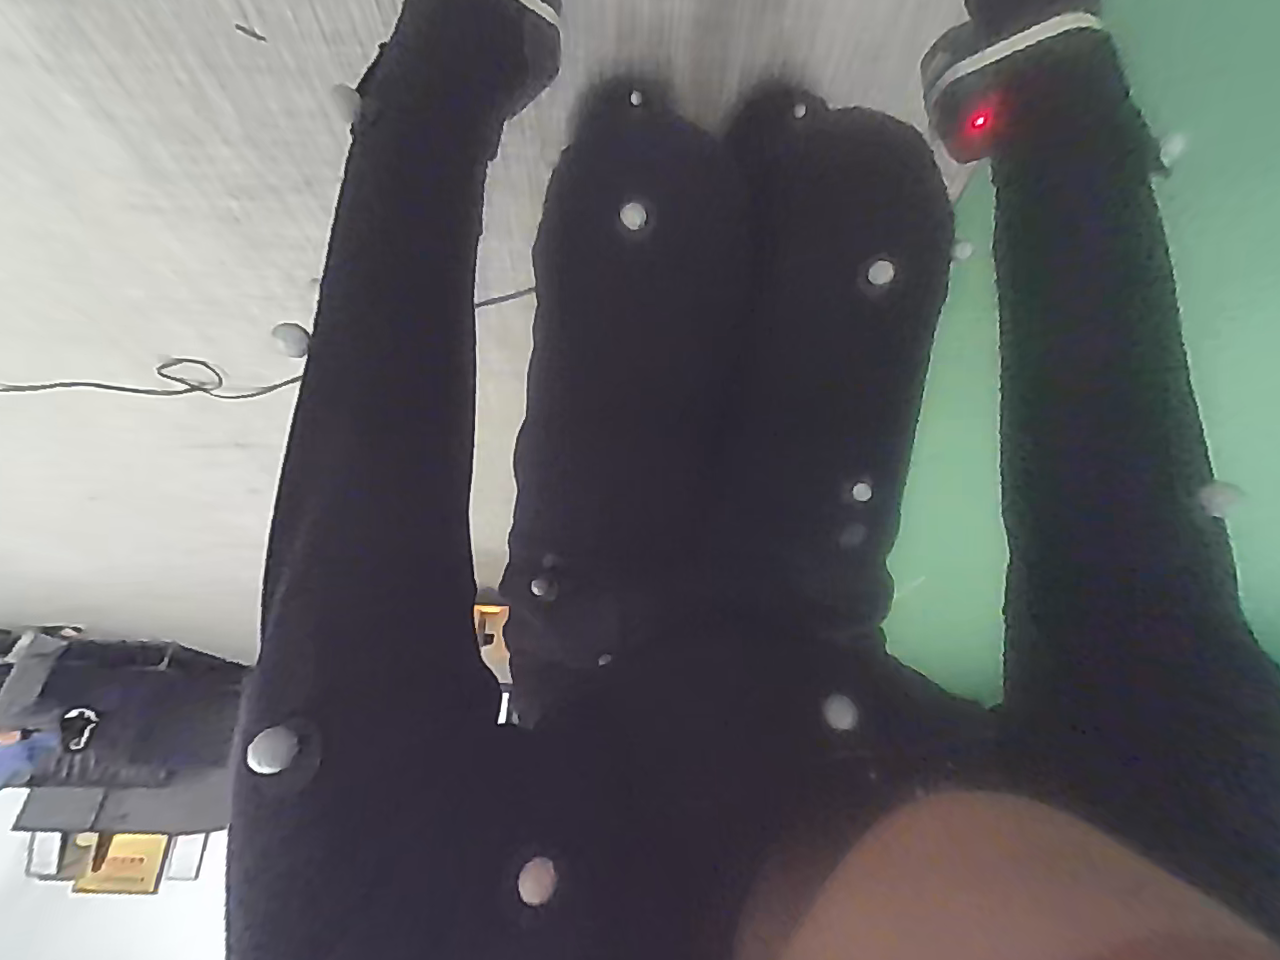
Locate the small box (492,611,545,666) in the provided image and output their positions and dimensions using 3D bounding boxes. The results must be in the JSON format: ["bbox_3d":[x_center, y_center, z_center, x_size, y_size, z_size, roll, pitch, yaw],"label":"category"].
[{"bbox_3d":[-0.477,0.631,2.150,0.168,0.176,0.179,4,149,0],"label":"small box"}]
